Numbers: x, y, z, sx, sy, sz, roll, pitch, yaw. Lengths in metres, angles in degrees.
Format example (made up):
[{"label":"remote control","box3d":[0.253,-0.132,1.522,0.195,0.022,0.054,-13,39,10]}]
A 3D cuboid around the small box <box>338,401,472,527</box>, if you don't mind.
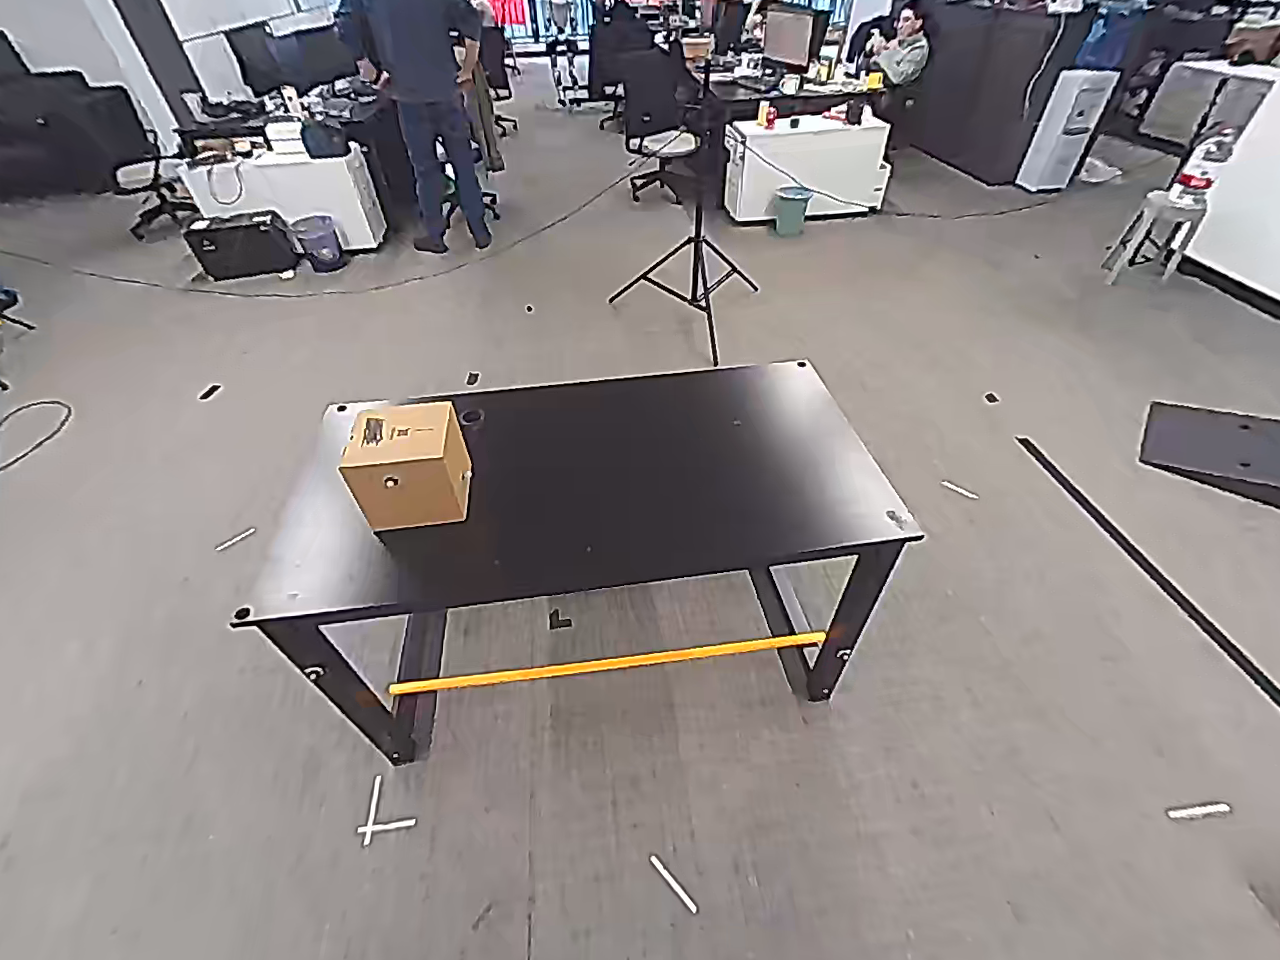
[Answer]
[{"label":"small box","box3d":[-0.433,-0.027,1.026,0.179,0.176,0.168,-6,45,-6]}]
